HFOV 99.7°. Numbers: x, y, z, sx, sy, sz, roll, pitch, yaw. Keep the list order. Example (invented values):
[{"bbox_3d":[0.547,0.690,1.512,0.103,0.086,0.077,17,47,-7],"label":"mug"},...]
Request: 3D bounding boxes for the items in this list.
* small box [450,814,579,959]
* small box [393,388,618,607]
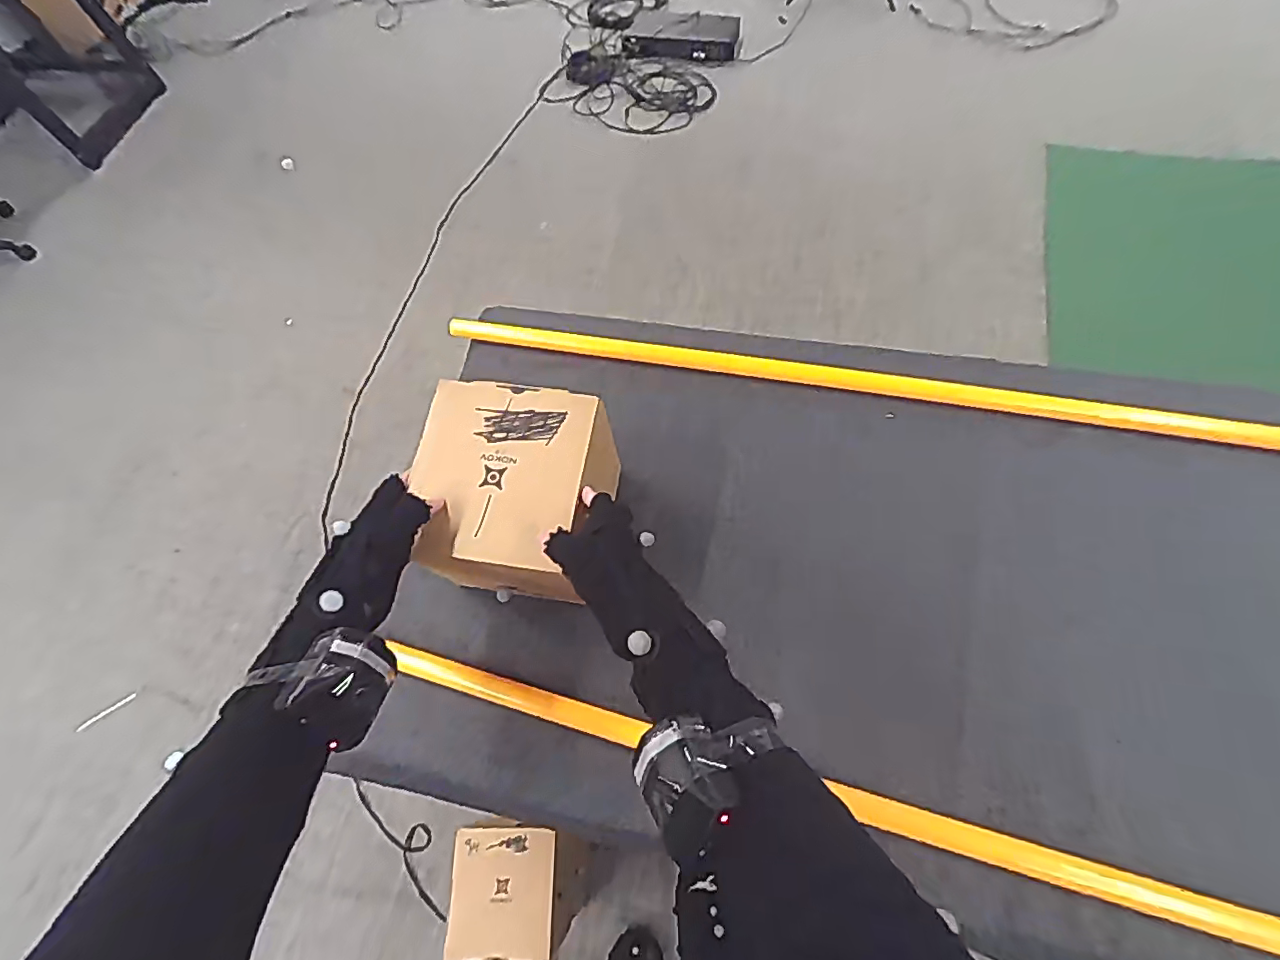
[{"bbox_3d":[-0.200,0.679,0.911,0.168,0.176,0.179,-7,64,5],"label":"small box"},{"bbox_3d":[-0.122,0.026,0.578,0.168,0.176,0.179,6,69,9],"label":"small box"}]
